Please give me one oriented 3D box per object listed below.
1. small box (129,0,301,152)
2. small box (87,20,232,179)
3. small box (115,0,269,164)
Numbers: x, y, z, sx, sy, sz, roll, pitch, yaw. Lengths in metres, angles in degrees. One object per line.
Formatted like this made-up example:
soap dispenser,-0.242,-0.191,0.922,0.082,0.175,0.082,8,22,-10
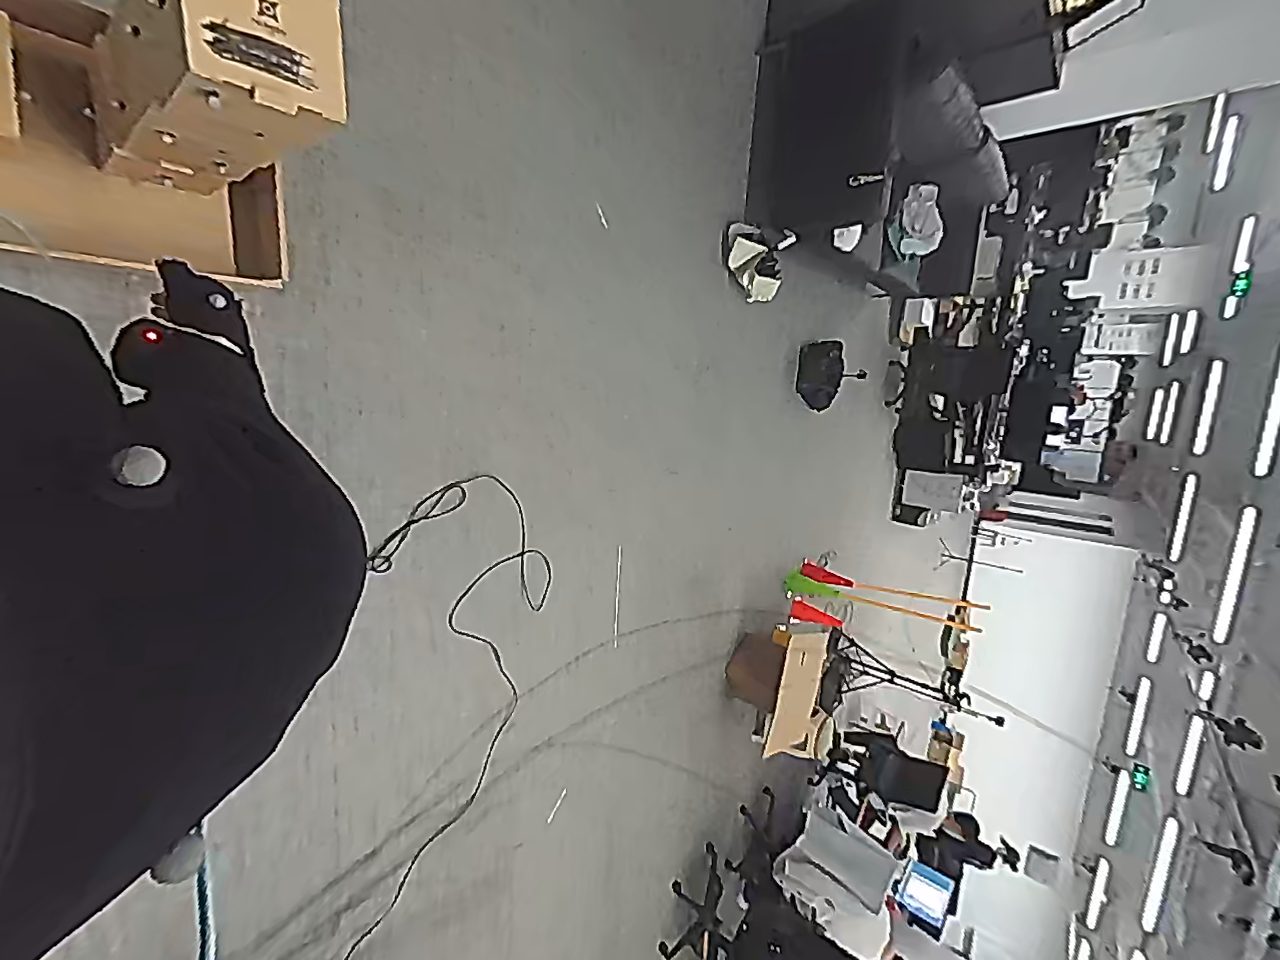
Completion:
small box,-0.611,-0.606,0.781,0.168,0.176,0.179,-8,106,-49
small box,-0.866,-0.667,0.978,0.168,0.176,0.179,-14,110,-46
small box,-0.720,-0.638,0.874,0.168,0.176,0.179,-9,107,-48
